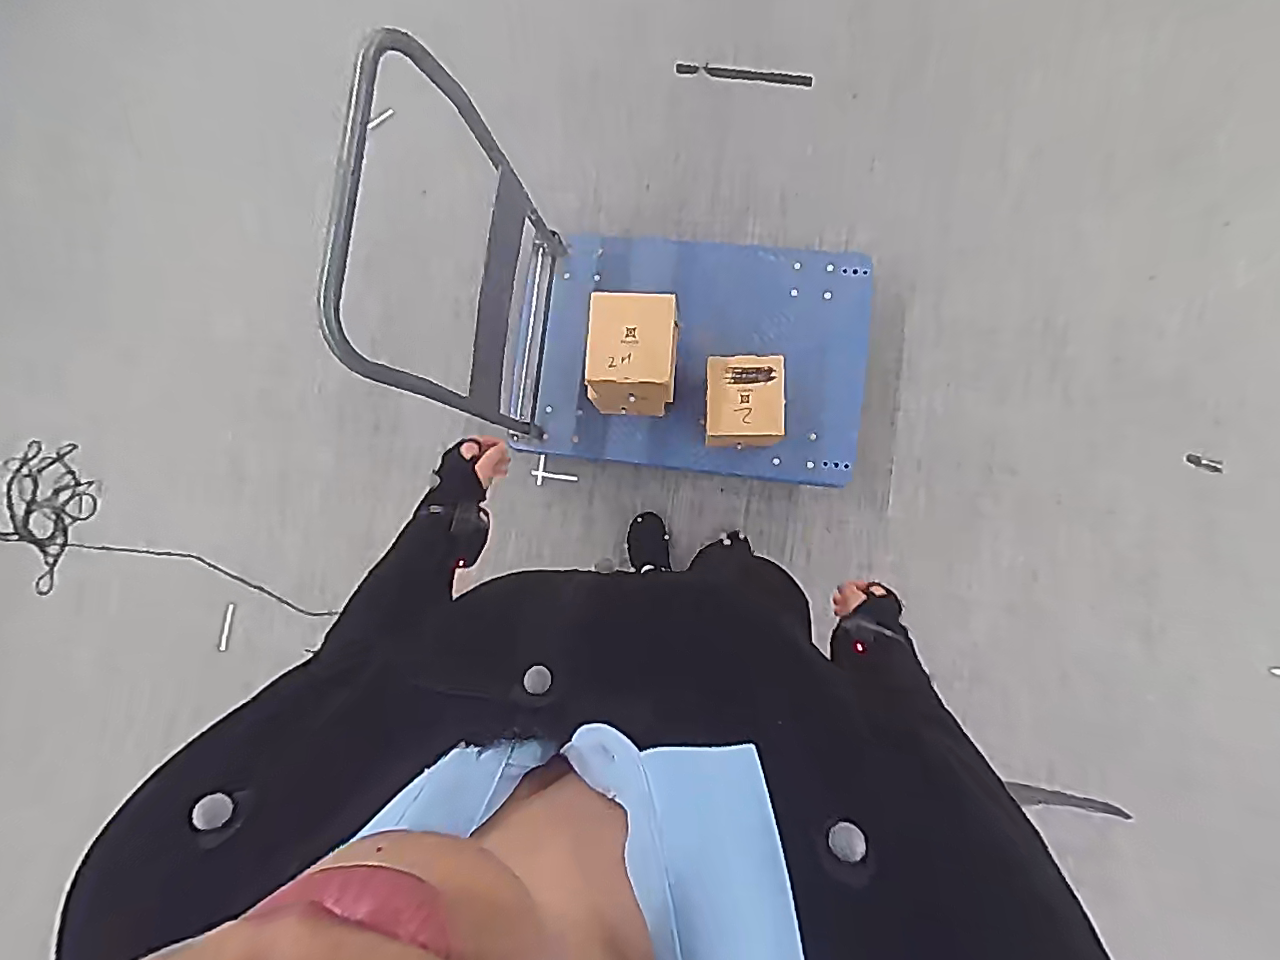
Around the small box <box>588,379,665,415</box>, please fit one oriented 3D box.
[{"bbox_3d":[-0.022,-0.258,1.272,0.168,0.176,0.179,3,87,5],"label":"small box"}]

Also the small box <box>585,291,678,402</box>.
[{"bbox_3d":[-0.010,-0.267,1.106,0.168,0.176,0.179,4,87,6],"label":"small box"}]
